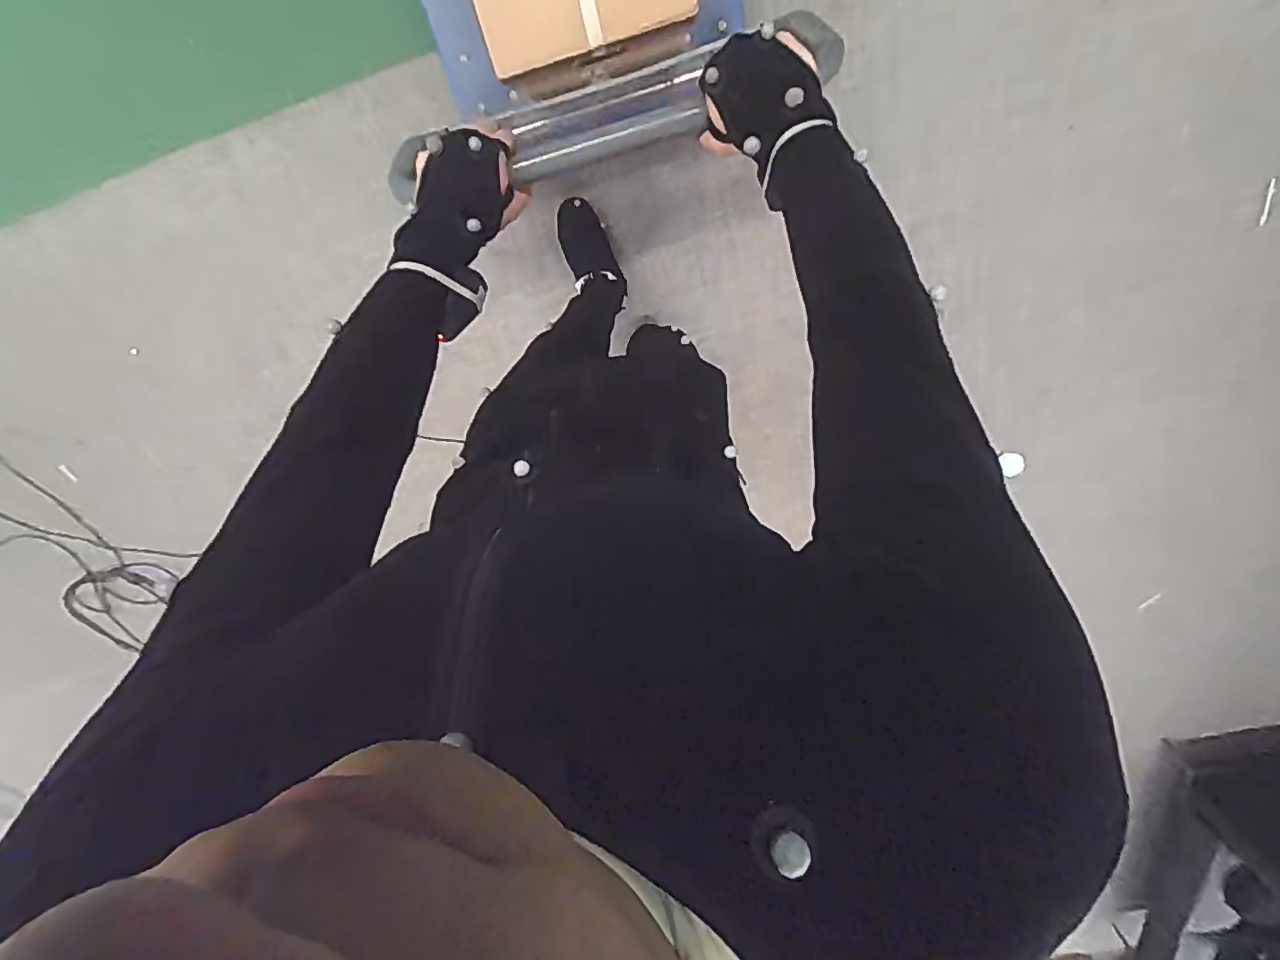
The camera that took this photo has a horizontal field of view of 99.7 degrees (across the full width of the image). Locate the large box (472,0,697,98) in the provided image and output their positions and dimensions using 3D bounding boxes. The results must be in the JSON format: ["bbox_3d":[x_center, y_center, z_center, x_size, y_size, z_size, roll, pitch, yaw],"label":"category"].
[{"bbox_3d":[-0.115,-0.875,0.829,0.320,0.320,0.408,-13,122,7],"label":"large box"}]
